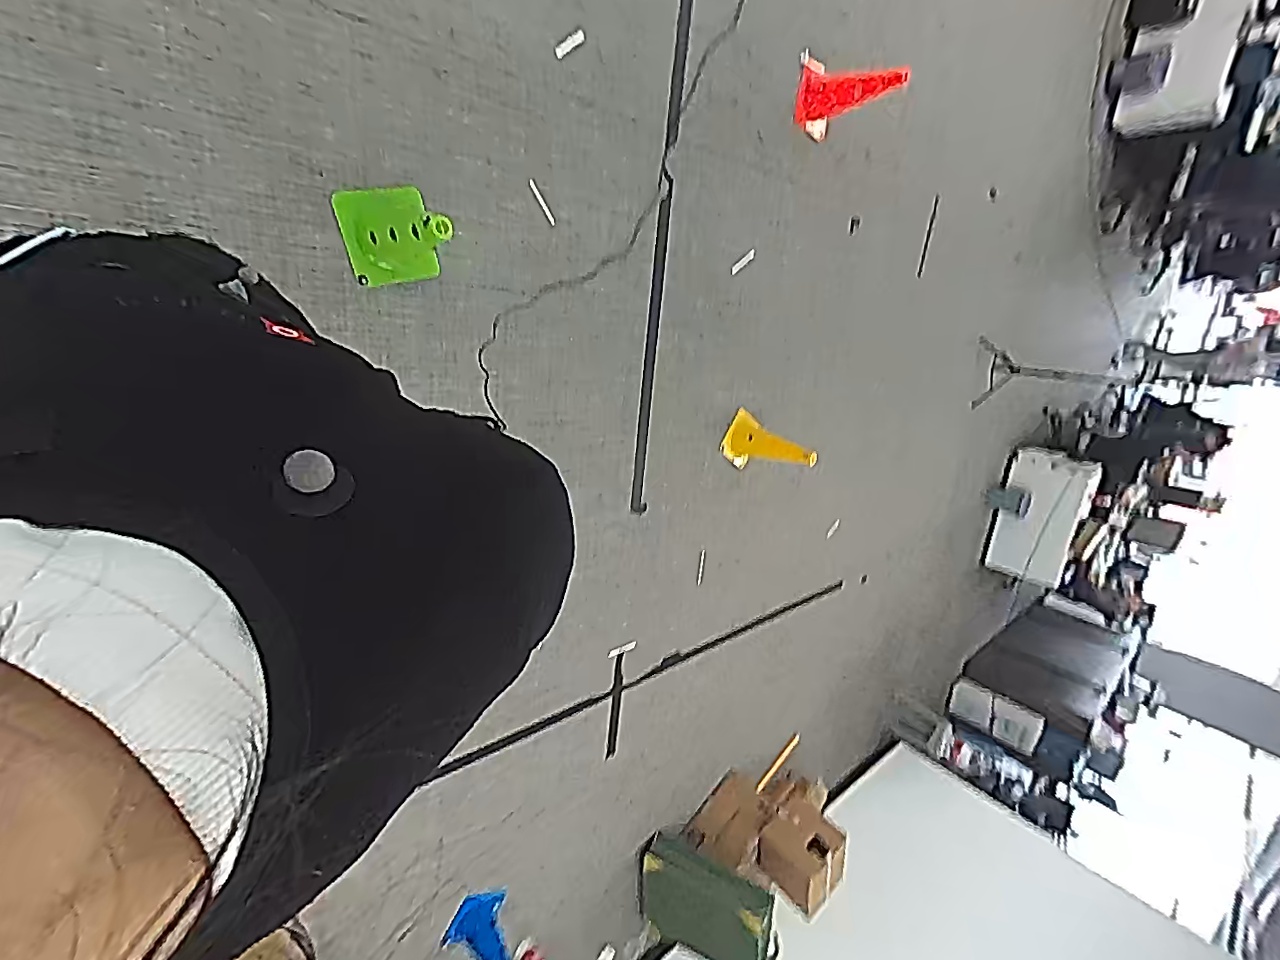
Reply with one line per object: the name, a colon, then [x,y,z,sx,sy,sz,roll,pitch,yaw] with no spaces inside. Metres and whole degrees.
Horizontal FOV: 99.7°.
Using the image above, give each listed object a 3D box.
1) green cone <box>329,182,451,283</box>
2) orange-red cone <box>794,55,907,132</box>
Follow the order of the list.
green cone: [-0.480,-0.533,1.135,0.200,0.368,0.202,-27,121,-32]
orange-red cone: [0.757,-1.392,1.899,0.198,0.360,0.199,1,107,-41]
